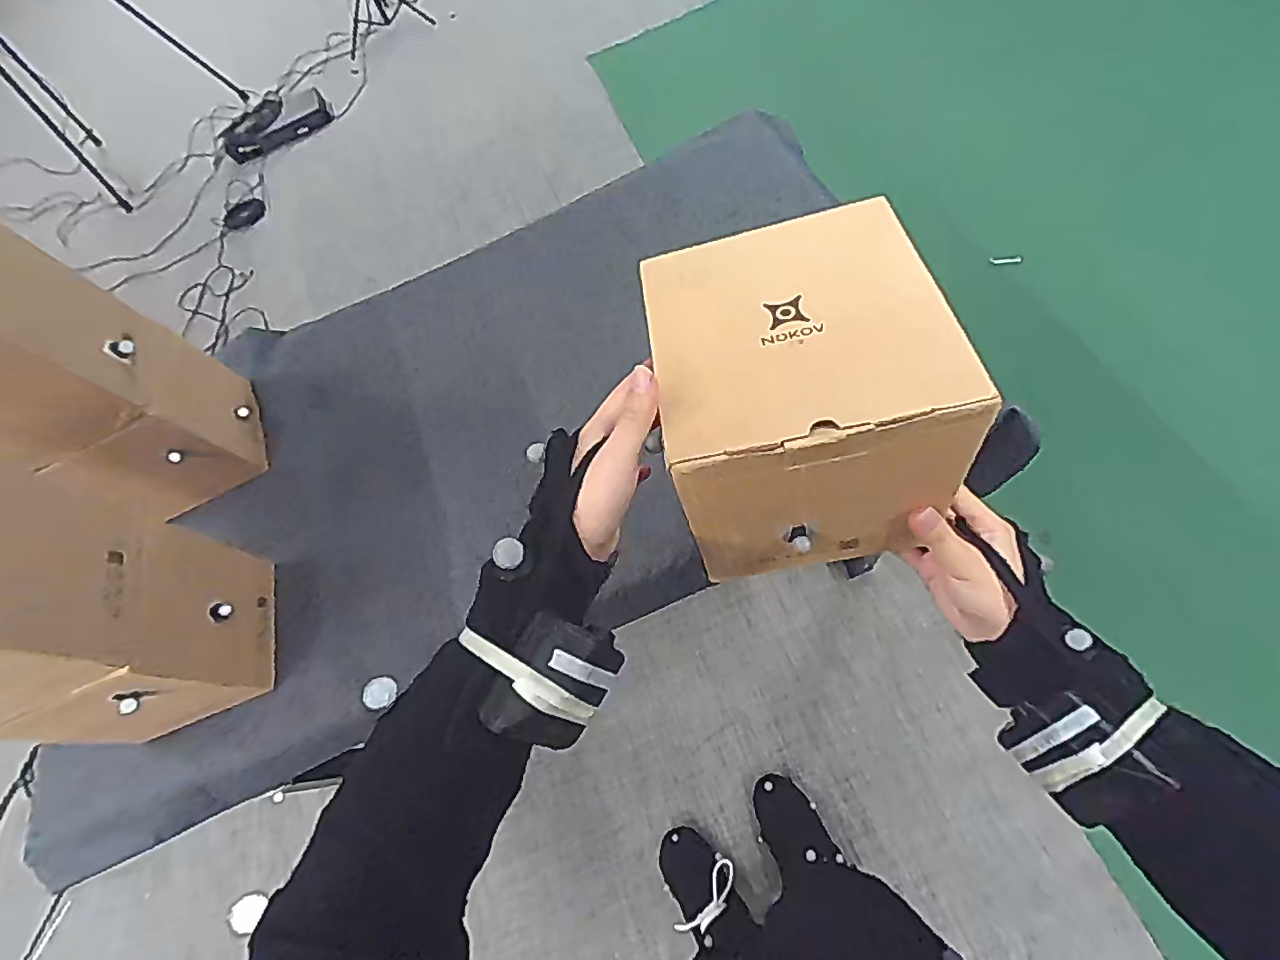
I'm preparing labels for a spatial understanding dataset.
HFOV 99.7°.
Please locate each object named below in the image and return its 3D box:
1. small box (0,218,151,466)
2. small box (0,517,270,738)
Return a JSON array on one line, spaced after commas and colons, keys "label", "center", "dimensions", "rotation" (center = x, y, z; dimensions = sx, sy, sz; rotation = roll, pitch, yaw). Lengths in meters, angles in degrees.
[{"label": "small box", "center": [-0.684, -0.139, 0.578], "dimensions": [0.179, 0.176, 0.168], "rotation": [-27, 67, -2]}, {"label": "small box", "center": [-0.544, 0.168, 0.593], "dimensions": [0.179, 0.176, 0.168], "rotation": [-22, 62, 2]}]
